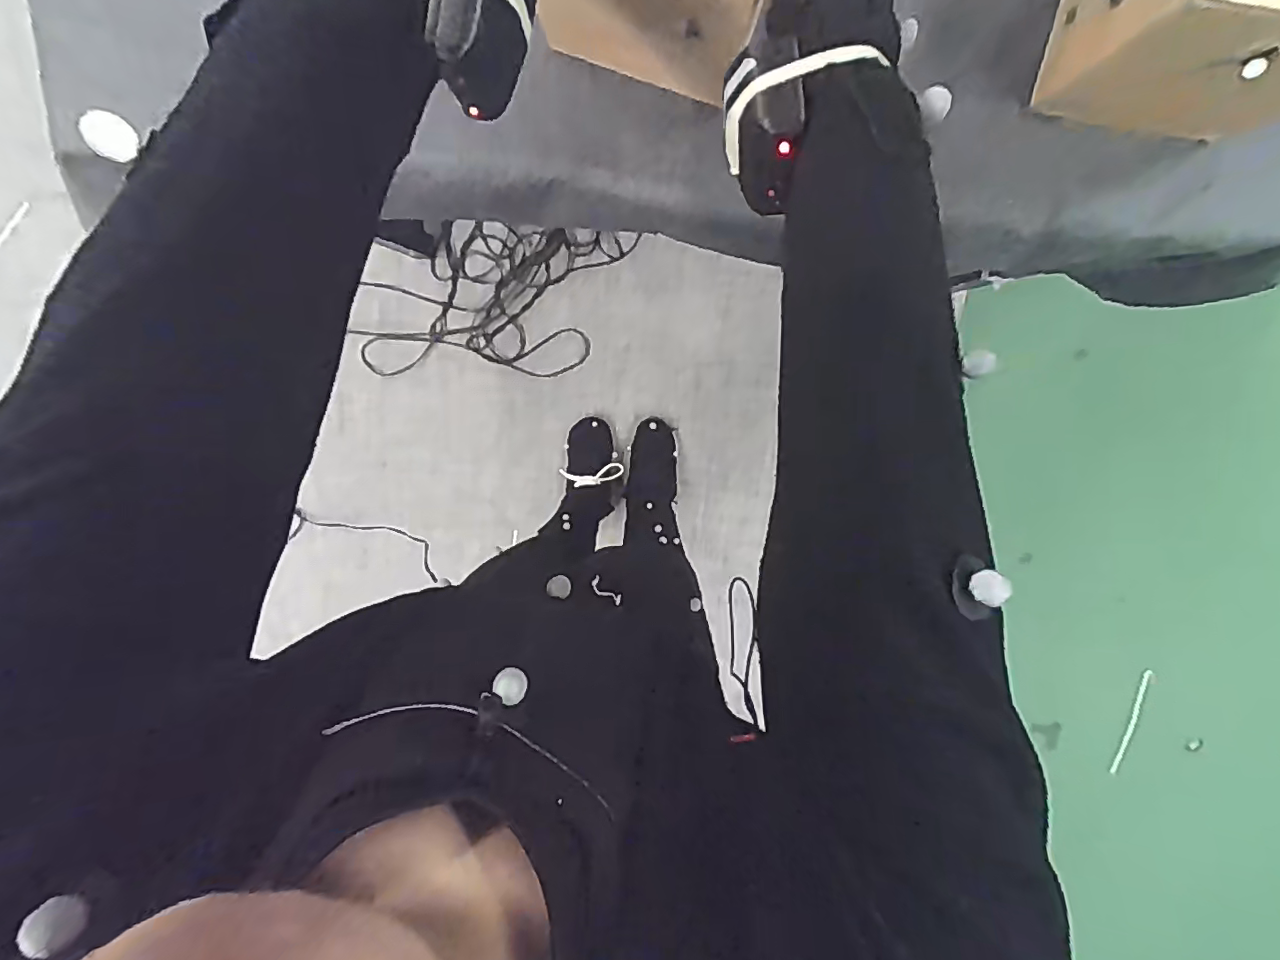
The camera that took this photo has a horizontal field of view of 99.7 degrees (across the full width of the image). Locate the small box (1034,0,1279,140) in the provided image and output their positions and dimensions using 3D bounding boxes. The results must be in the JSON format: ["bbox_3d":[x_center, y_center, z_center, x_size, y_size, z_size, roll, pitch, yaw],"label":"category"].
[{"bbox_3d":[0.443,-0.377,0.394,0.179,0.176,0.168,10,104,0],"label":"small box"}]
